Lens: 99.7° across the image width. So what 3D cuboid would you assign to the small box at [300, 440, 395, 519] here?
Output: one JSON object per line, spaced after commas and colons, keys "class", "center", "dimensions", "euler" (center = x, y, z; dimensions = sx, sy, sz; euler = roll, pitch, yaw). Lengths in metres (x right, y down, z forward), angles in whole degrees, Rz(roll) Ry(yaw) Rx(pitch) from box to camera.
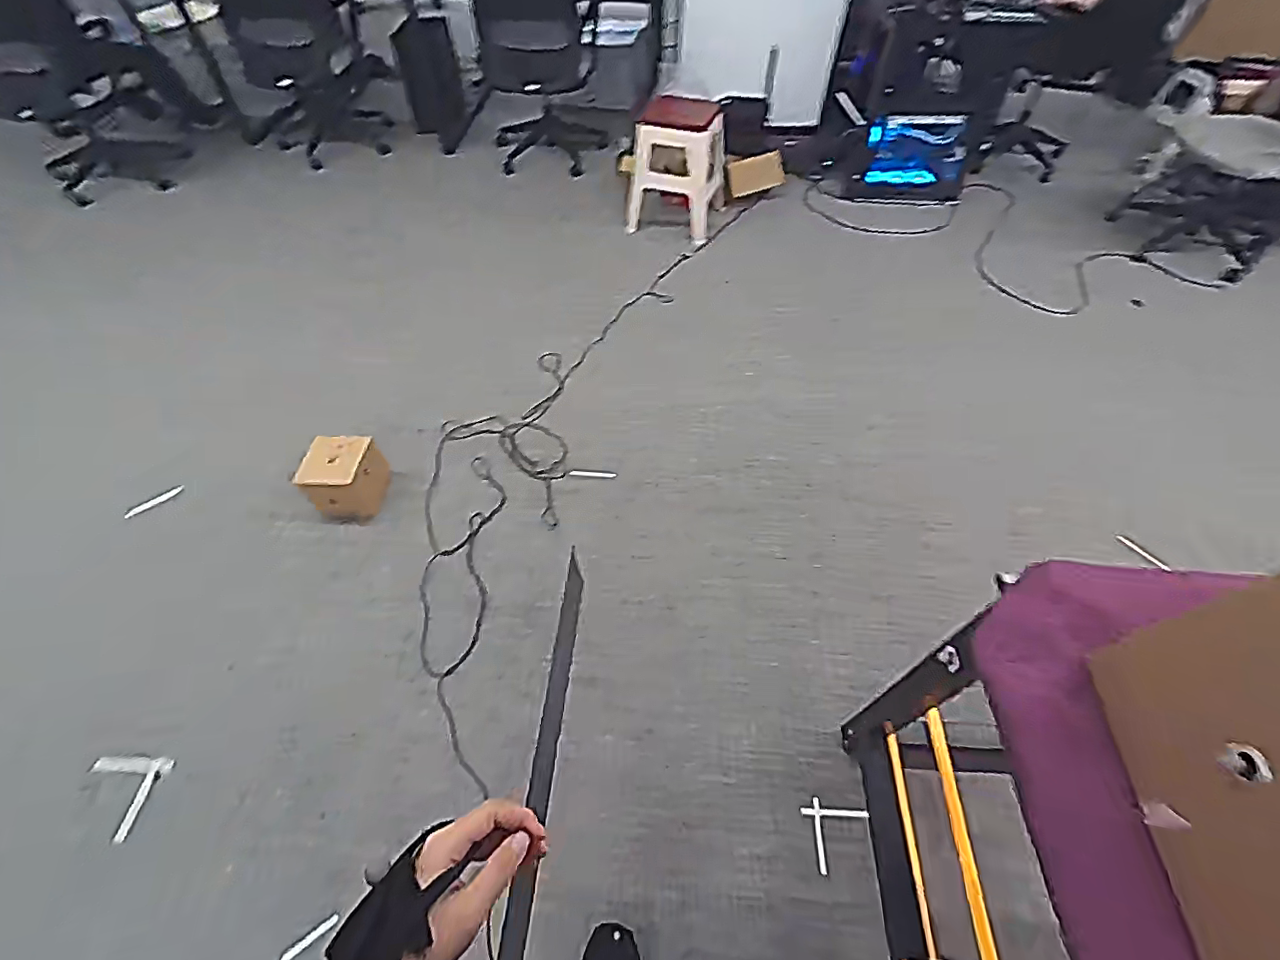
{"class": "small box", "center": [-0.855, 0.002, 1.601], "dimensions": [0.168, 0.176, 0.179], "euler": [2, 53, 2]}
